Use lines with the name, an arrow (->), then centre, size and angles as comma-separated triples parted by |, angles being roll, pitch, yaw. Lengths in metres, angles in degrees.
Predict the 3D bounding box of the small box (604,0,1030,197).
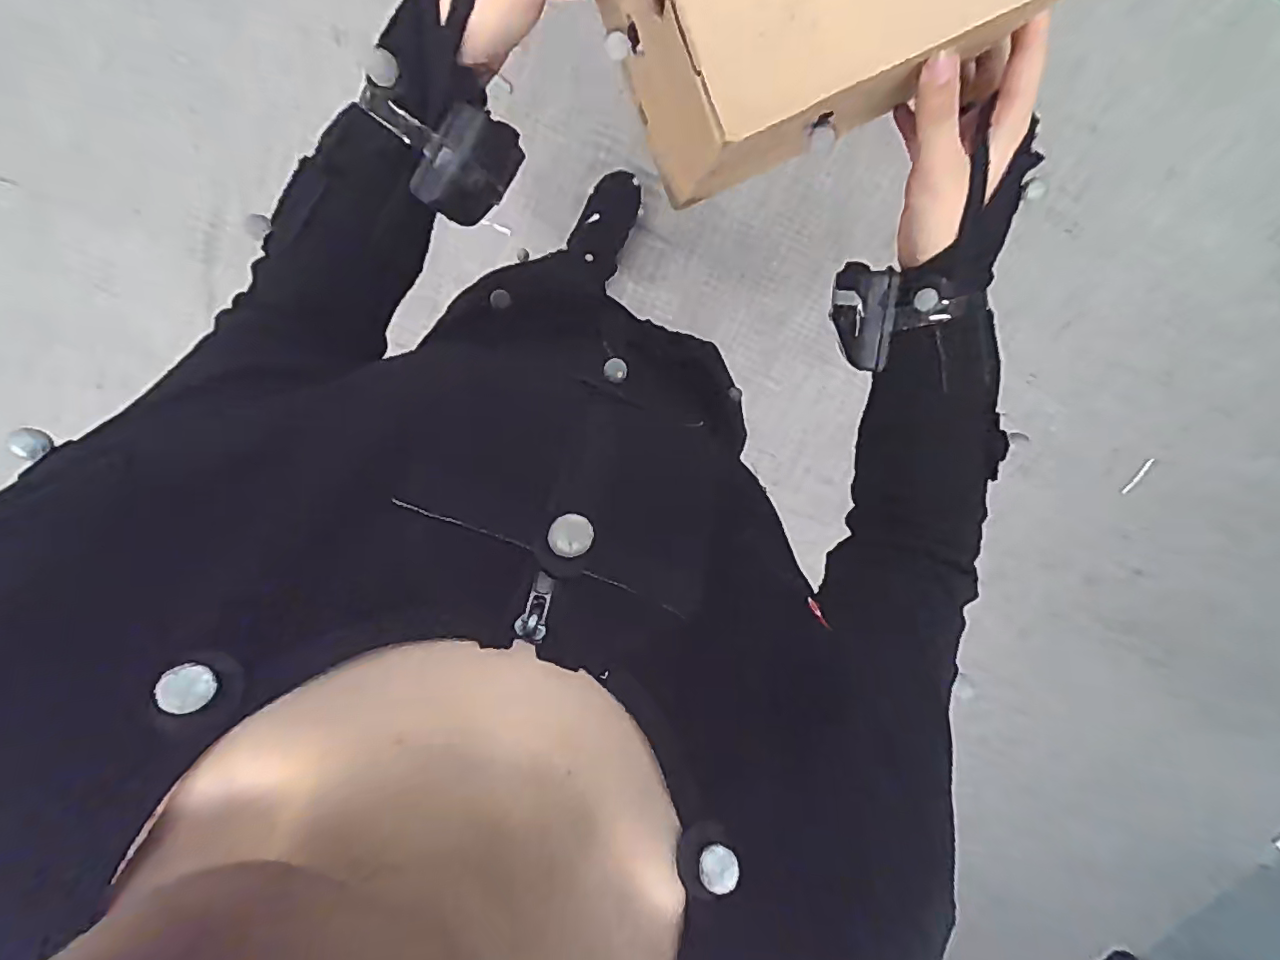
small box -> 0.075, -0.276, 0.284 | 0.179, 0.176, 0.168 | -24, 108, 5
